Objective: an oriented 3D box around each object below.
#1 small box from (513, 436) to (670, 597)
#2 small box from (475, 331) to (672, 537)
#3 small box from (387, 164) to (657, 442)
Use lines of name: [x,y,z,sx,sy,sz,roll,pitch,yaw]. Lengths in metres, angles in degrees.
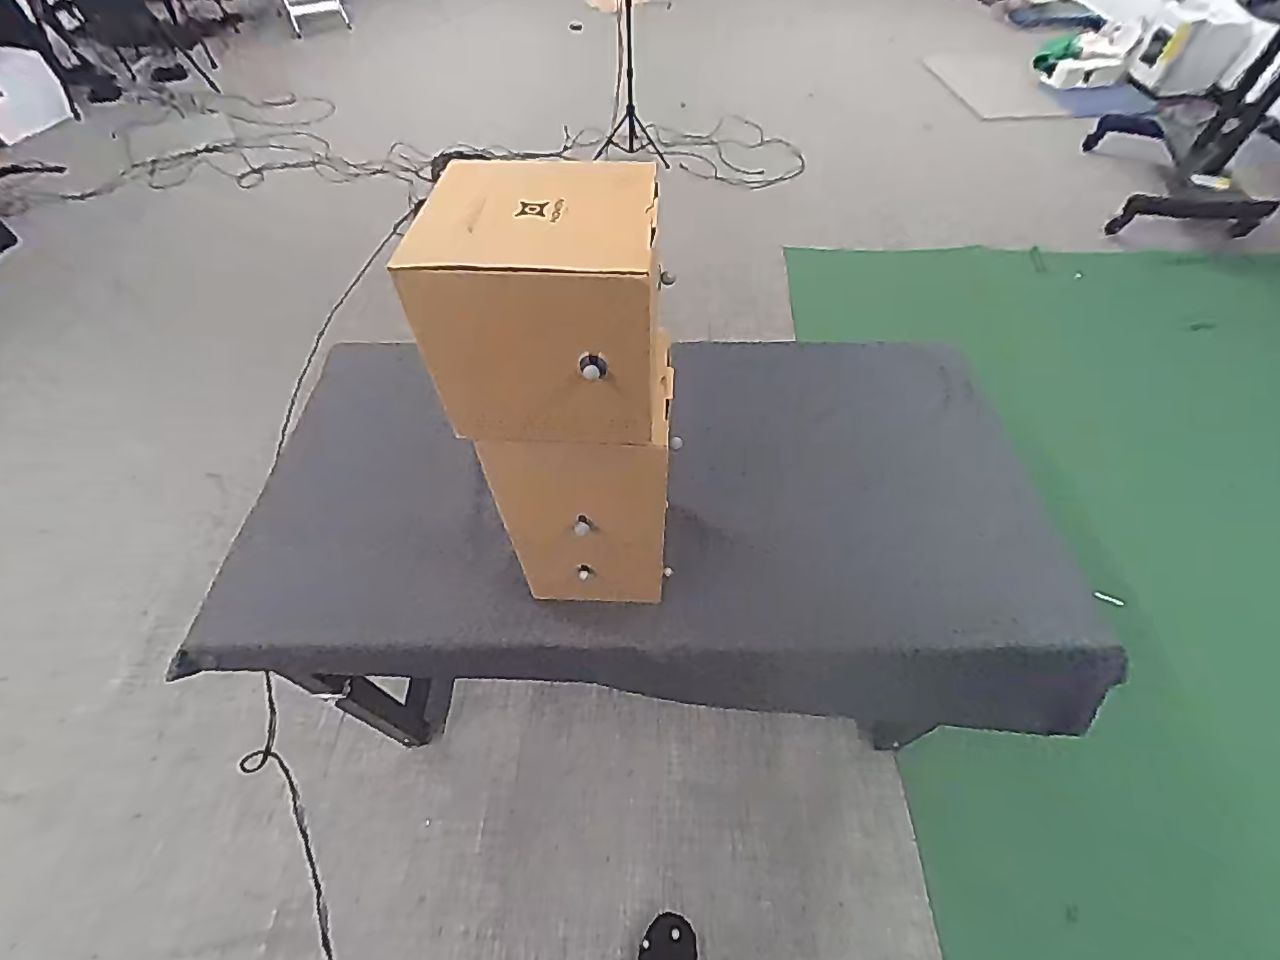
small box: [-0.055,0.044,0.726,0.179,0.176,0.168,4,52,4]
small box: [-0.058,-0.048,0.595,0.179,0.176,0.168,2,53,2]
small box: [-0.075,-0.146,0.464,0.179,0.176,0.168,1,52,4]
